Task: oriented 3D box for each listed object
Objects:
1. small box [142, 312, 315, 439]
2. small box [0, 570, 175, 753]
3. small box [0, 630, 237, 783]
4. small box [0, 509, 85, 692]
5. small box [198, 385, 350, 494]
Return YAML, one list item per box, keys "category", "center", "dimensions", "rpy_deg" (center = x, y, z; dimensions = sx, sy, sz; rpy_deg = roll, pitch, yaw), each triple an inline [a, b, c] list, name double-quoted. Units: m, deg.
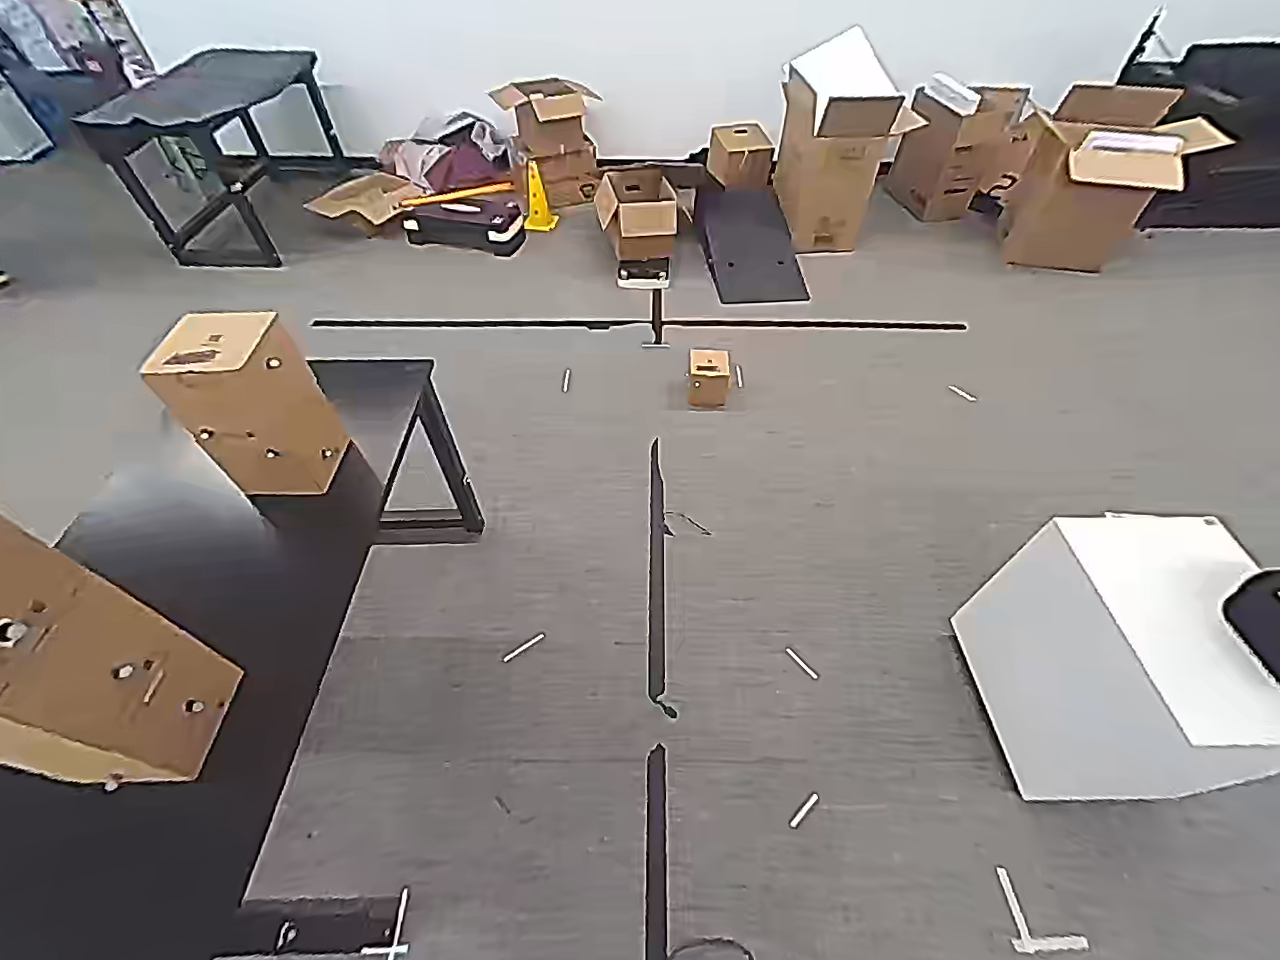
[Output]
- category: "small box"
  center: [-0.740, -0.188, 1.001]
  dimensions: [0.168, 0.176, 0.179]
  rpy_deg: [-2, 50, -3]
- category: "small box"
  center: [-0.740, 0.223, 0.655]
  dimensions: [0.179, 0.176, 0.168]
  rpy_deg: [0, 51, -1]
- category: "small box"
  center: [-0.739, 0.329, 0.782]
  dimensions: [0.179, 0.176, 0.168]
  rpy_deg: [-1, 50, -2]
- category: "small box"
  center: [-0.739, 0.117, 0.531]
  dimensions: [0.179, 0.176, 0.168]
  rpy_deg: [-1, 51, -1]
- category: "small box"
  center: [-0.747, -0.083, 1.127]
  dimensions: [0.179, 0.176, 0.168]
  rpy_deg: [0, 50, -1]
